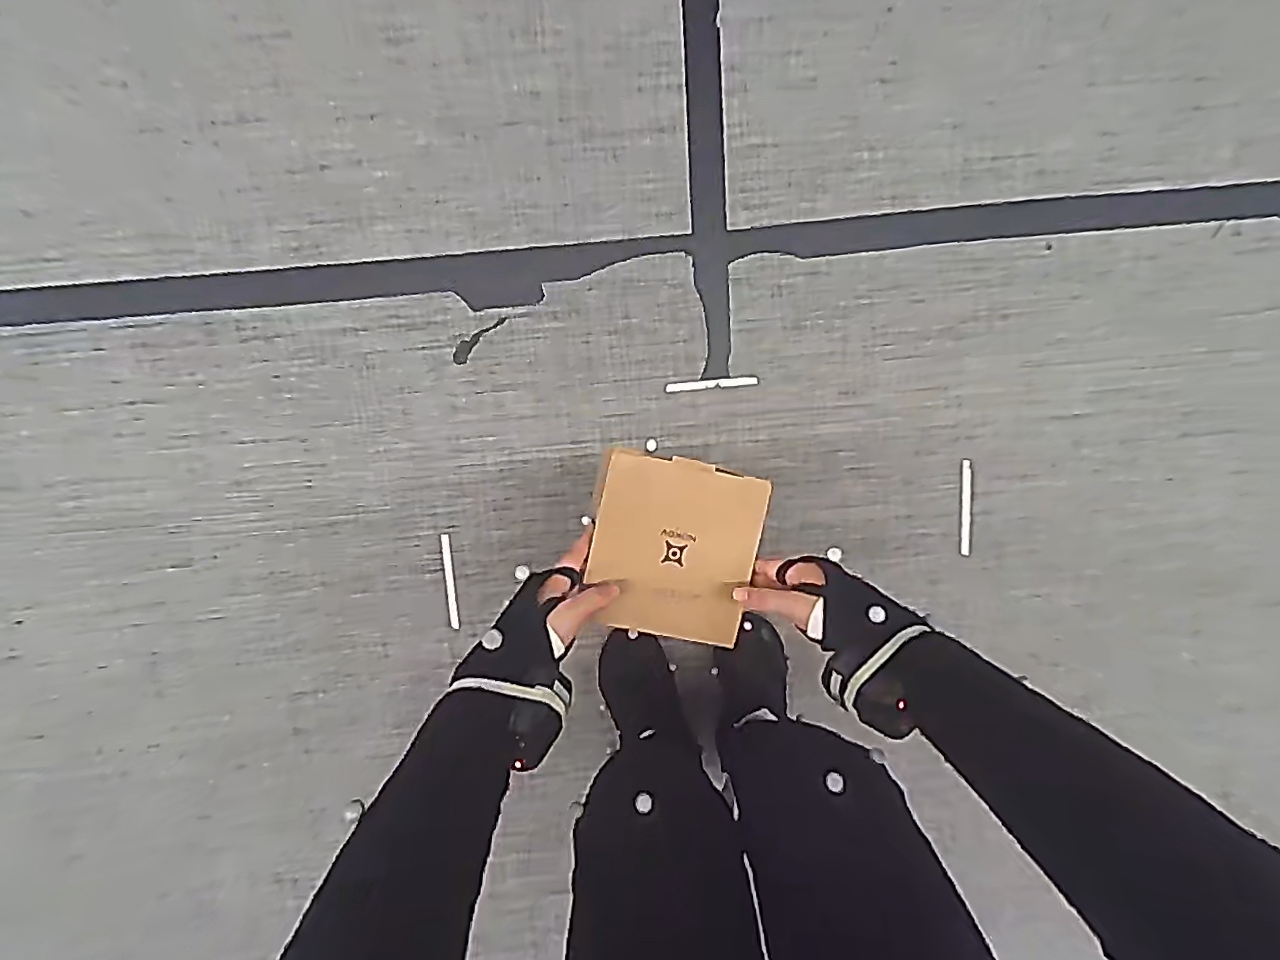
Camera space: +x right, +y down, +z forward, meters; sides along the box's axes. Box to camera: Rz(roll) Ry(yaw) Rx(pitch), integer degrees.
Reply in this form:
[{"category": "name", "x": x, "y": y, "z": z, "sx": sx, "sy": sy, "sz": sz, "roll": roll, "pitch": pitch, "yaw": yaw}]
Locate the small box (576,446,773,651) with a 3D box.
[{"category": "small box", "x": 0.025, "y": 0.062, "z": 0.599, "sx": 0.168, "sy": 0.176, "sz": 0.179, "roll": 12, "pitch": 94, "yaw": -7}]
